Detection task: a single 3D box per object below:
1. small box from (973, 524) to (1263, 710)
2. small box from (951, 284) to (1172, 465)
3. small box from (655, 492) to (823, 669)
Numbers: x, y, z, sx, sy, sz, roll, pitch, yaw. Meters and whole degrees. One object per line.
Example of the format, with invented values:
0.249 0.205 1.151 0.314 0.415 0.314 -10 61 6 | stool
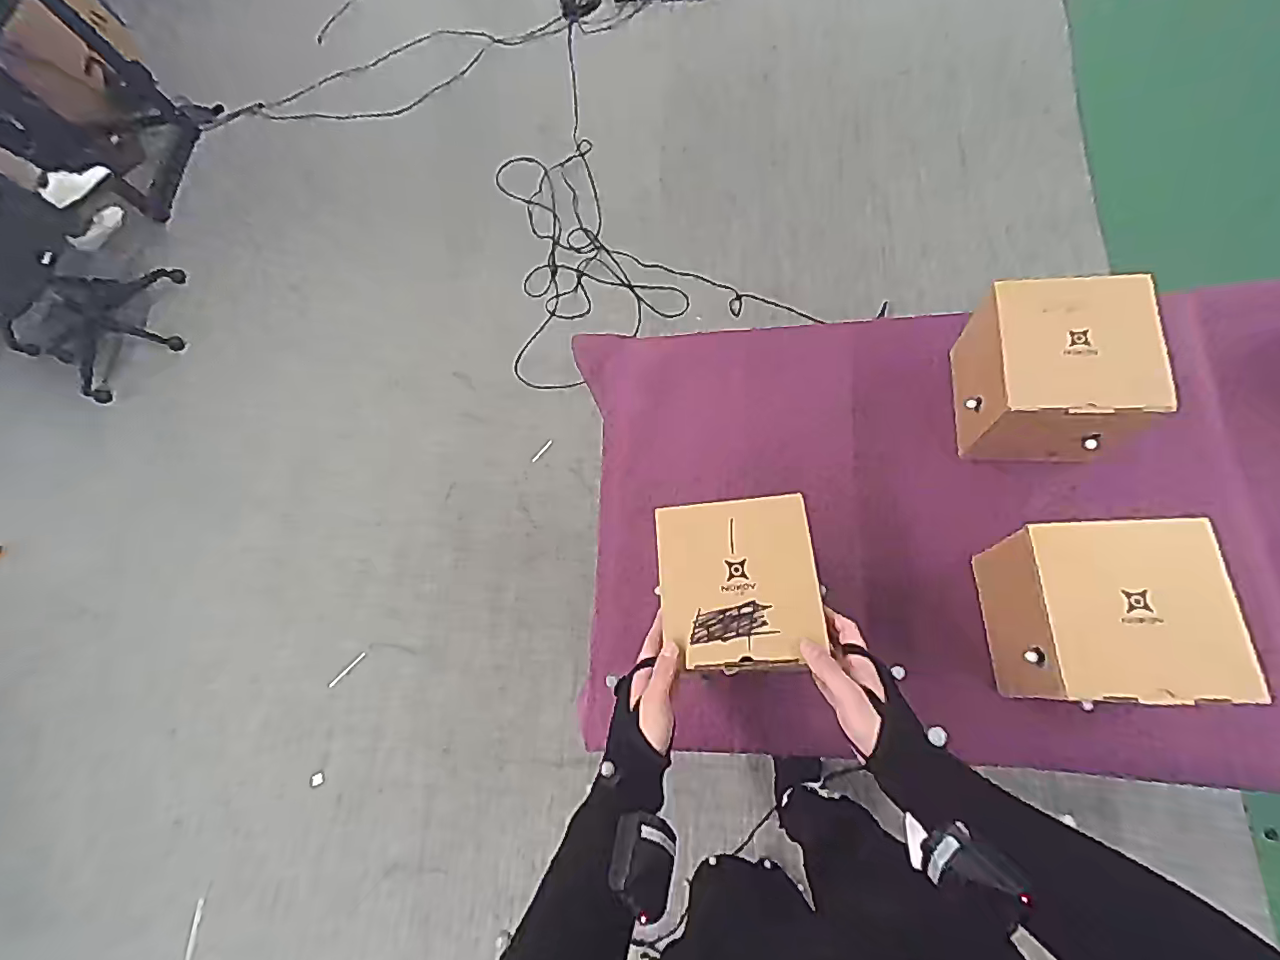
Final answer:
0.501 0.156 0.606 0.168 0.176 0.179 -3 71 11 | small box
0.521 -0.126 0.699 0.168 0.176 0.179 3 72 13 | small box
0.113 0.130 0.645 0.168 0.176 0.179 -6 66 8 | small box
